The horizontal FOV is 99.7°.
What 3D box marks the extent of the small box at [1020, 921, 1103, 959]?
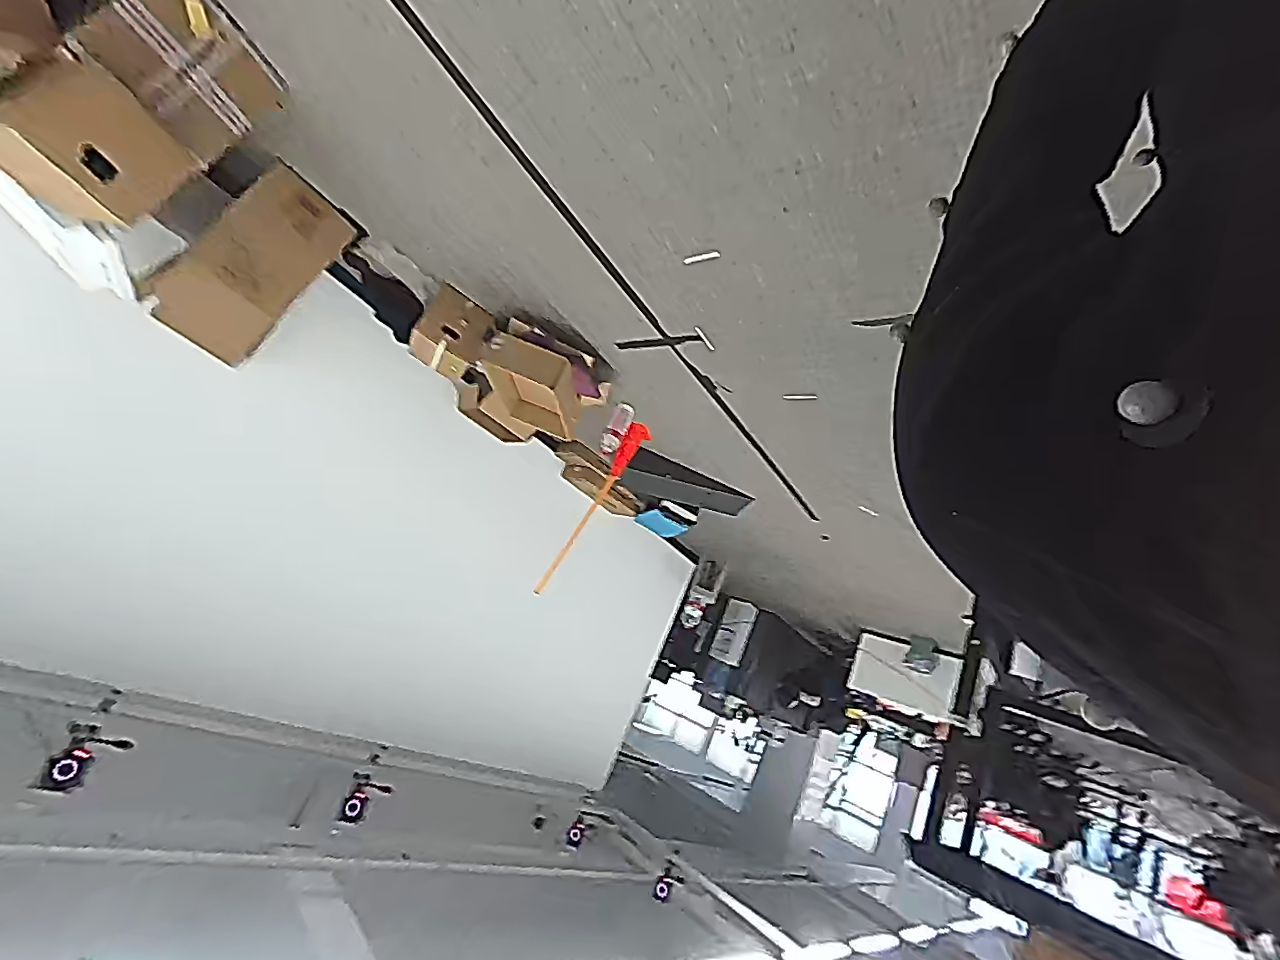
[{"bbox_3d":[1.064,1.260,1.366,0.168,0.176,0.179,9,158,40],"label":"small box"}]
